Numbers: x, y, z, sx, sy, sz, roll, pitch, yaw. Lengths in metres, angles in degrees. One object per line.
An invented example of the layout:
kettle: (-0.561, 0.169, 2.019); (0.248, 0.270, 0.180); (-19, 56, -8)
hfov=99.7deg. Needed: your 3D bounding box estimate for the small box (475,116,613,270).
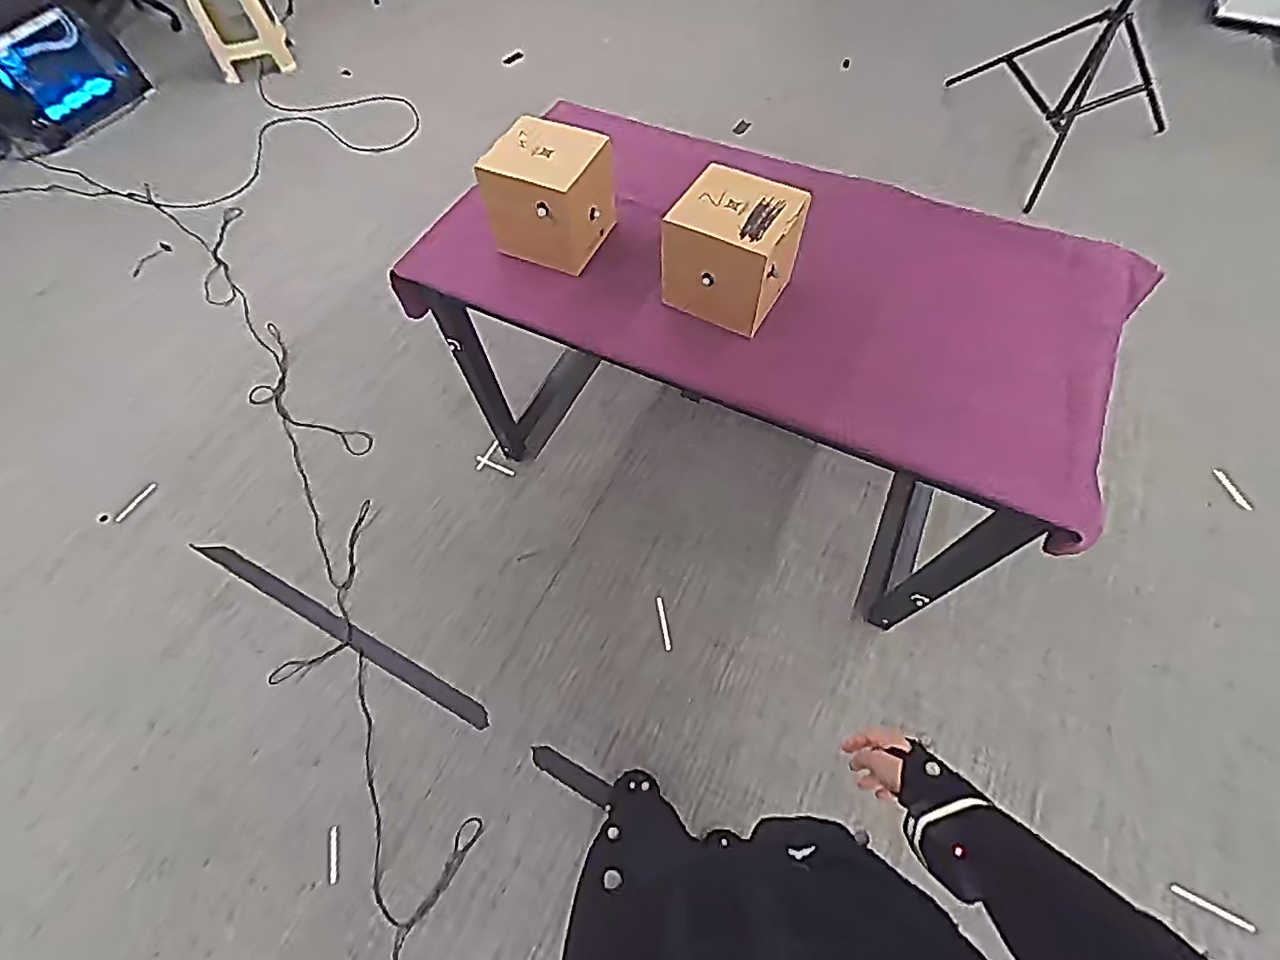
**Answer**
small box: (-0.159, -0.507, 0.970); (0.179, 0.176, 0.168); (21, 64, 13)
